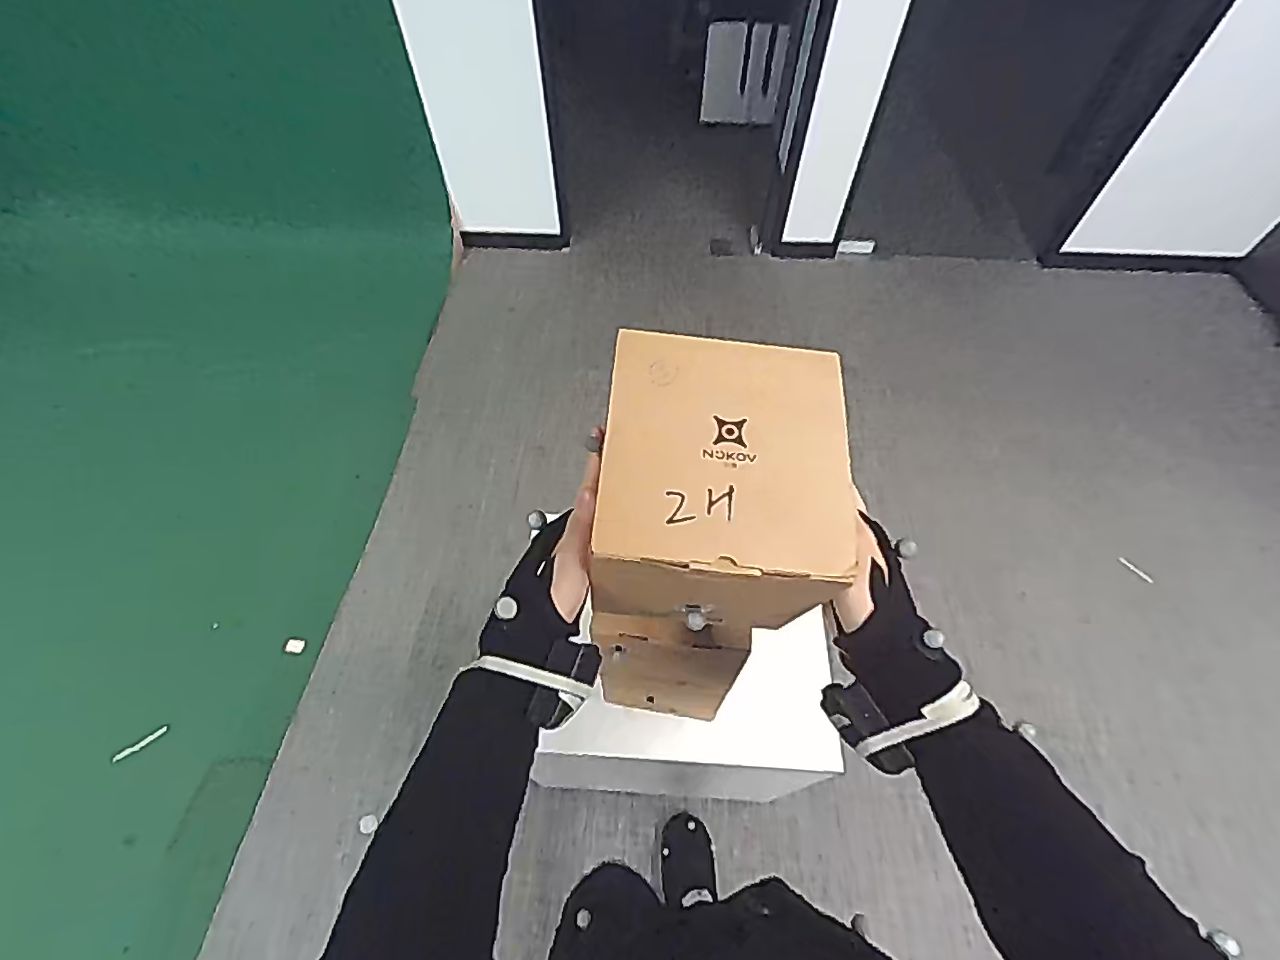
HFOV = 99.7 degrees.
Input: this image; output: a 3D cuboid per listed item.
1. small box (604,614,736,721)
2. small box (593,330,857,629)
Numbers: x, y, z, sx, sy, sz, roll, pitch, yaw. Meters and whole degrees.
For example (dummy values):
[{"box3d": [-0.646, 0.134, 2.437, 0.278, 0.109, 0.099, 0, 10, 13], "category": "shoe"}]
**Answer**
[{"box3d": [0.046, 0.229, 0.784, 0.168, 0.176, 0.179, 8, 55, 5], "category": "small box"}, {"box3d": [0.054, 0.009, 0.437, 0.168, 0.176, 0.179, 5, 63, 0], "category": "small box"}]
